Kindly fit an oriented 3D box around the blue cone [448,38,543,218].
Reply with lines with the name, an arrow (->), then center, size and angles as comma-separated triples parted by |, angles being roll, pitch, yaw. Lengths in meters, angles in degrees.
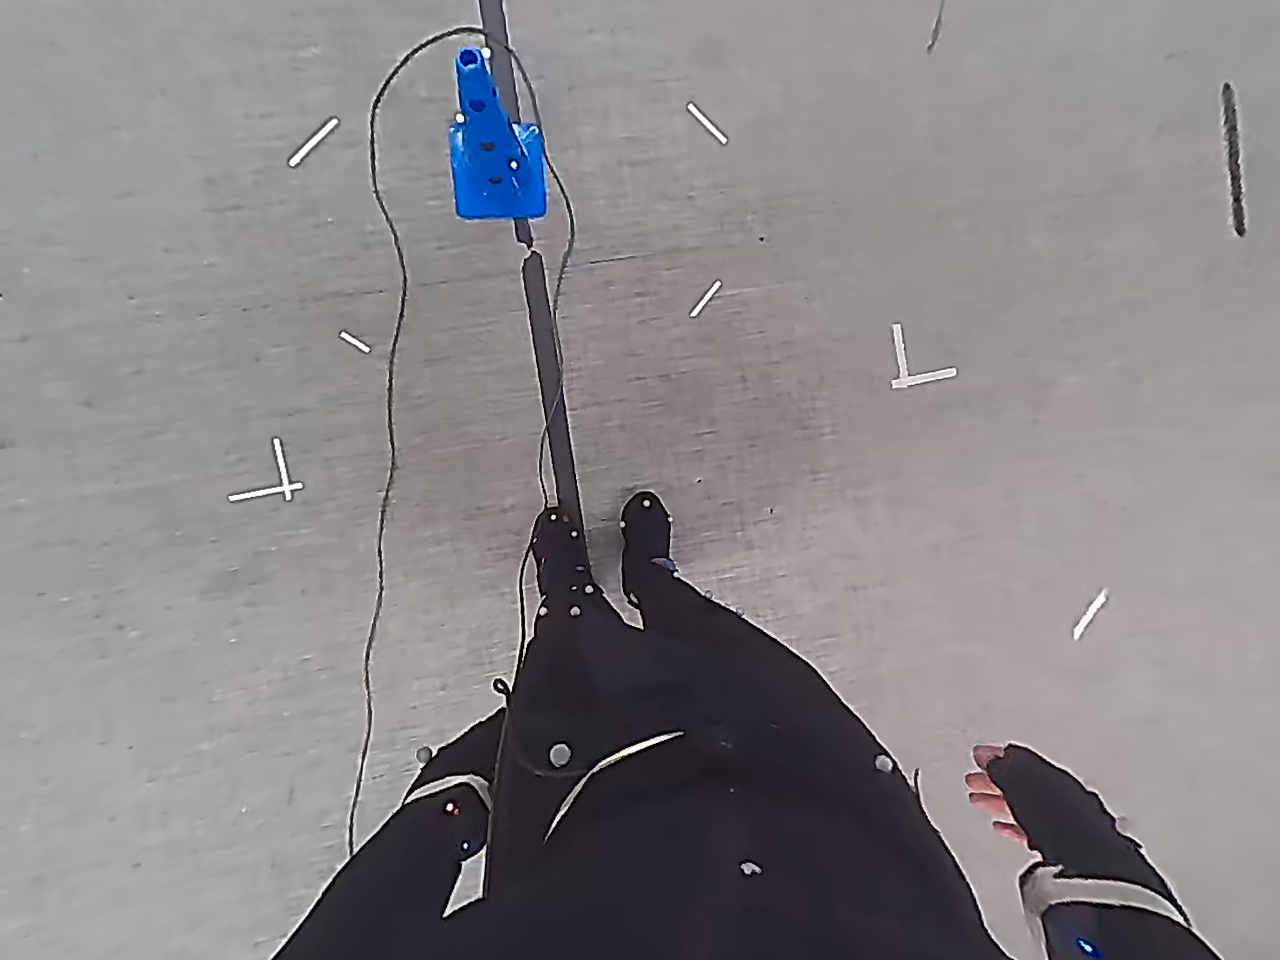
blue cone -> -0.290, -0.656, 1.006 | 0.193, 0.380, 0.192 | -6, 94, -6
